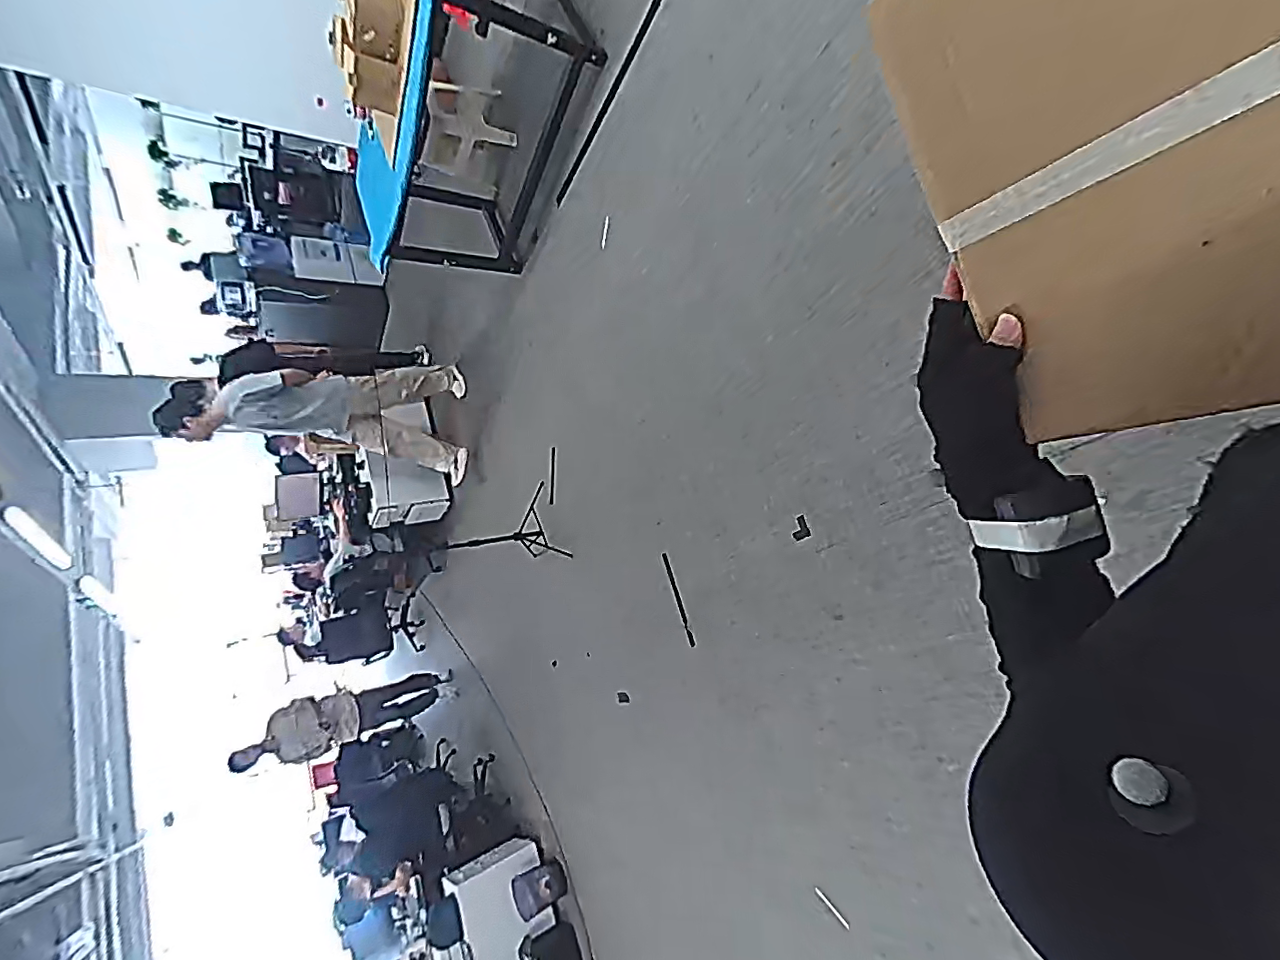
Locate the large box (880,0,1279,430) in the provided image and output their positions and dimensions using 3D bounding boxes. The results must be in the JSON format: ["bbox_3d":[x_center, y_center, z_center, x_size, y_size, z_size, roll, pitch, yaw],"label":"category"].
[{"bbox_3d":[0.433,-0.261,0.294,0.408,0.320,0.320,-14,104,56],"label":"large box"}]
